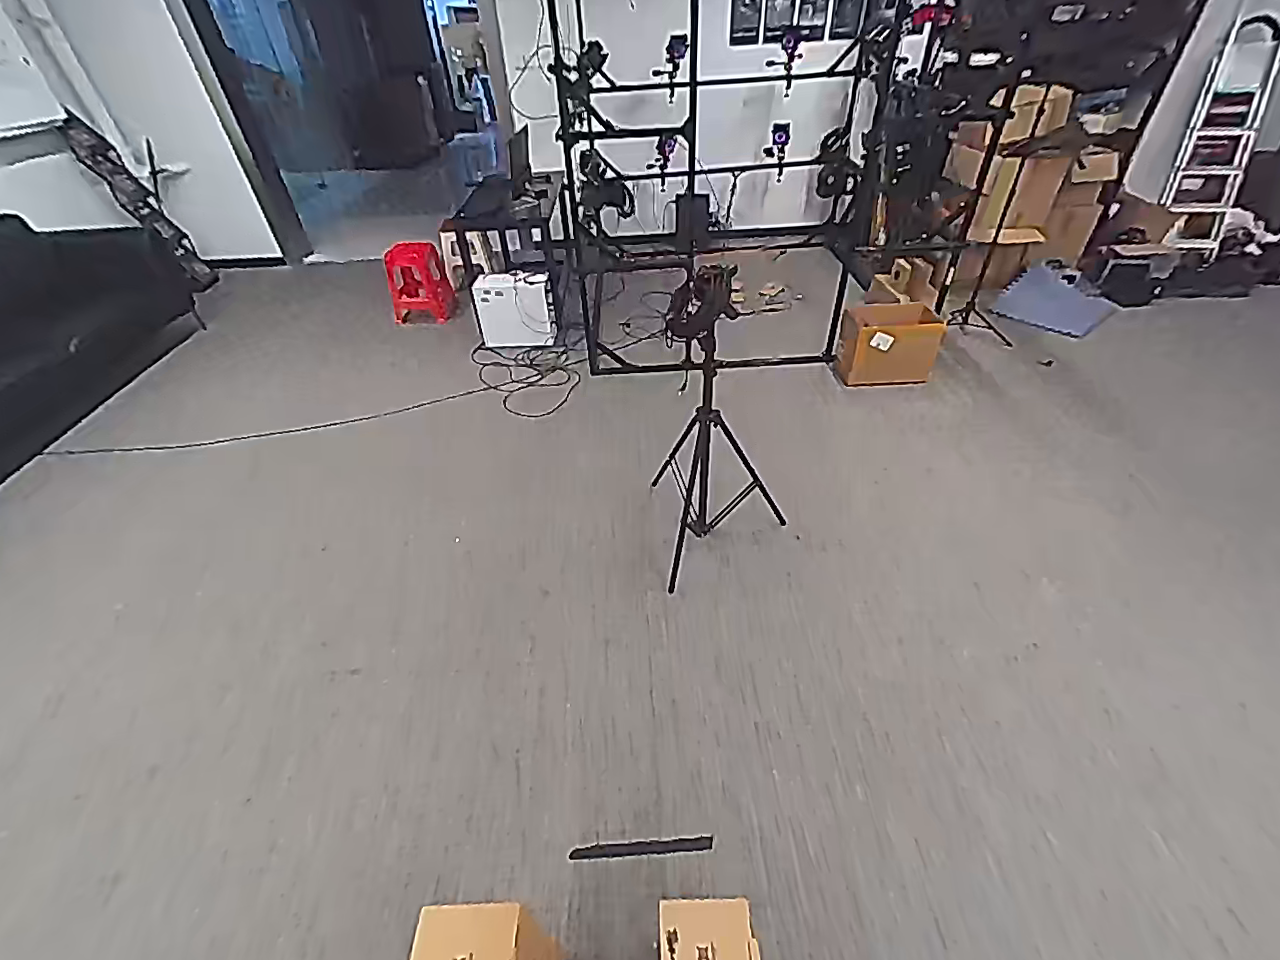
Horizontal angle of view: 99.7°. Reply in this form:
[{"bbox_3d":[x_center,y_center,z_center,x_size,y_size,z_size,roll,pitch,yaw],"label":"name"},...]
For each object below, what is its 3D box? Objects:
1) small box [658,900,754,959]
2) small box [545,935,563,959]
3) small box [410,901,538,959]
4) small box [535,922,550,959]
[{"bbox_3d":[0.123,0.931,1.040,0.179,0.176,0.168,-1,40,1],"label":"small box"},{"bbox_3d":[-0.249,1.093,1.130,0.168,0.176,0.179,-7,41,-4],"label":"small box"},{"bbox_3d":[-0.284,0.843,0.923,0.179,0.176,0.168,-3,40,1],"label":"small box"},{"bbox_3d":[-0.264,0.973,1.020,0.168,0.176,0.179,-7,41,-2],"label":"small box"}]
